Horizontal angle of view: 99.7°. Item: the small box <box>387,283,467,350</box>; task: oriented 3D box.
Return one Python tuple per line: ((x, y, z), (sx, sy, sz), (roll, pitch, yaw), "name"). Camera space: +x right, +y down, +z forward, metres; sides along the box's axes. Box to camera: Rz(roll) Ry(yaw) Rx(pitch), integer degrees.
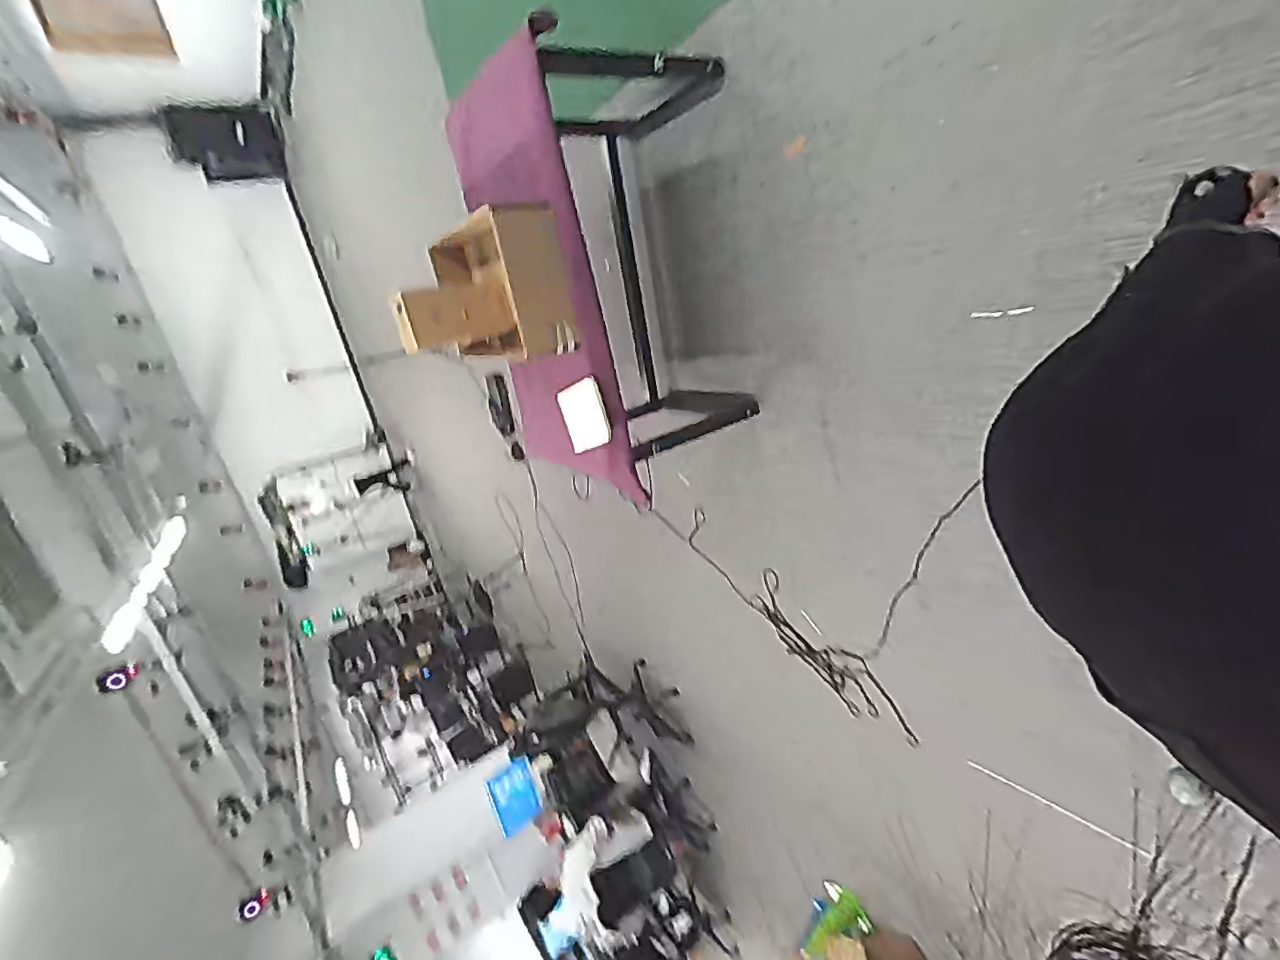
((-0.676, -0.522, 1.724), (0.168, 0.176, 0.179), (12, 121, 53), "small box")
